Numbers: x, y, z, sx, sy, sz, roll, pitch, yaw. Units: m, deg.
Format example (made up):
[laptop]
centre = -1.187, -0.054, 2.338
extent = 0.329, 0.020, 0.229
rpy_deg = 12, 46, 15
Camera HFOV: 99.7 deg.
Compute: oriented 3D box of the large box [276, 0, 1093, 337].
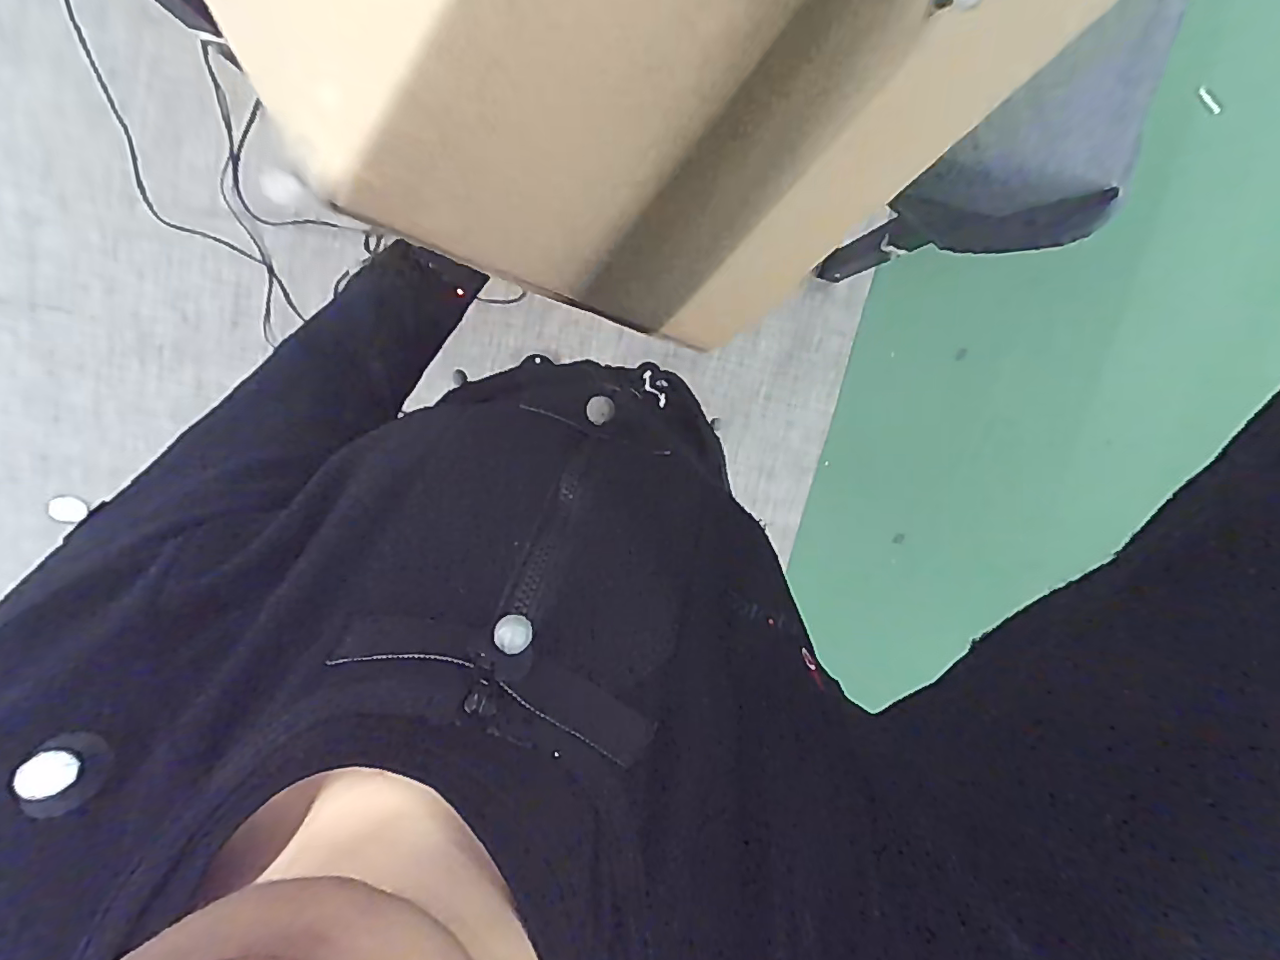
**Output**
[large box]
centre = 0.054, -0.337, 0.265
extent = 0.408, 0.320, 0.320
rpy_deg = -42, 73, 27
